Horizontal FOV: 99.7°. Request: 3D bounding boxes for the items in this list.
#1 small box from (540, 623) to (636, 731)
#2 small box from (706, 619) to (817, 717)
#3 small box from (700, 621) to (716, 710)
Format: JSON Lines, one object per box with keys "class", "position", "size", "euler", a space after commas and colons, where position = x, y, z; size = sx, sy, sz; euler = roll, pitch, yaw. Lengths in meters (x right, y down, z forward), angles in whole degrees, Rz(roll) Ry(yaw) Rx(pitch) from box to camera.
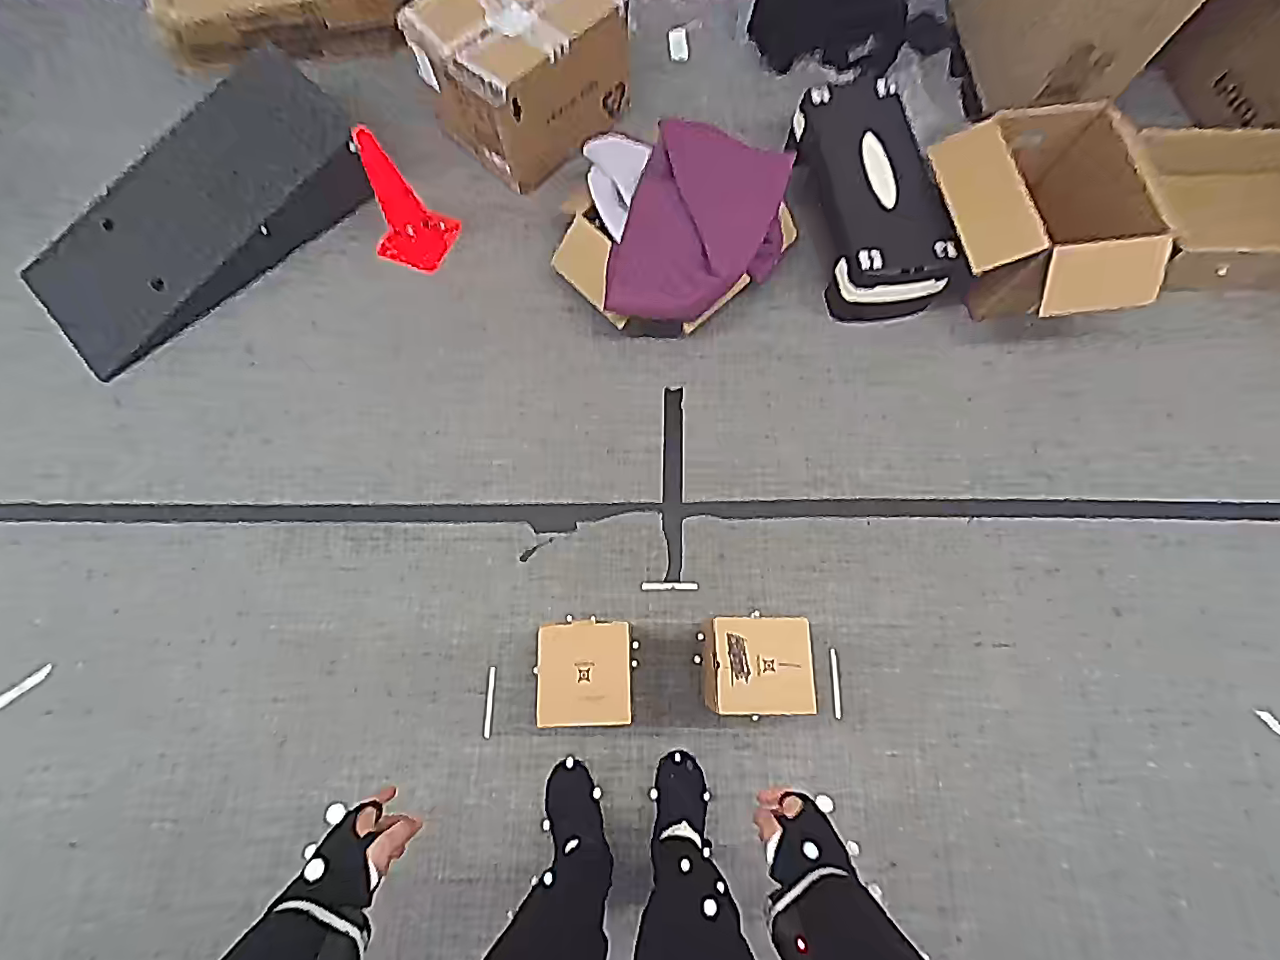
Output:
{"class": "small box", "position": [-0.093, 0.370, 1.032], "size": [0.168, 0.176, 0.179], "euler": [-3, 74, 1]}
{"class": "small box", "position": [0.222, 0.357, 1.036], "size": [0.179, 0.176, 0.168], "euler": [1, 73, -1]}
{"class": "small box", "position": [0.225, 0.405, 1.193], "size": [0.168, 0.176, 0.179], "euler": [2, 74, -1]}
